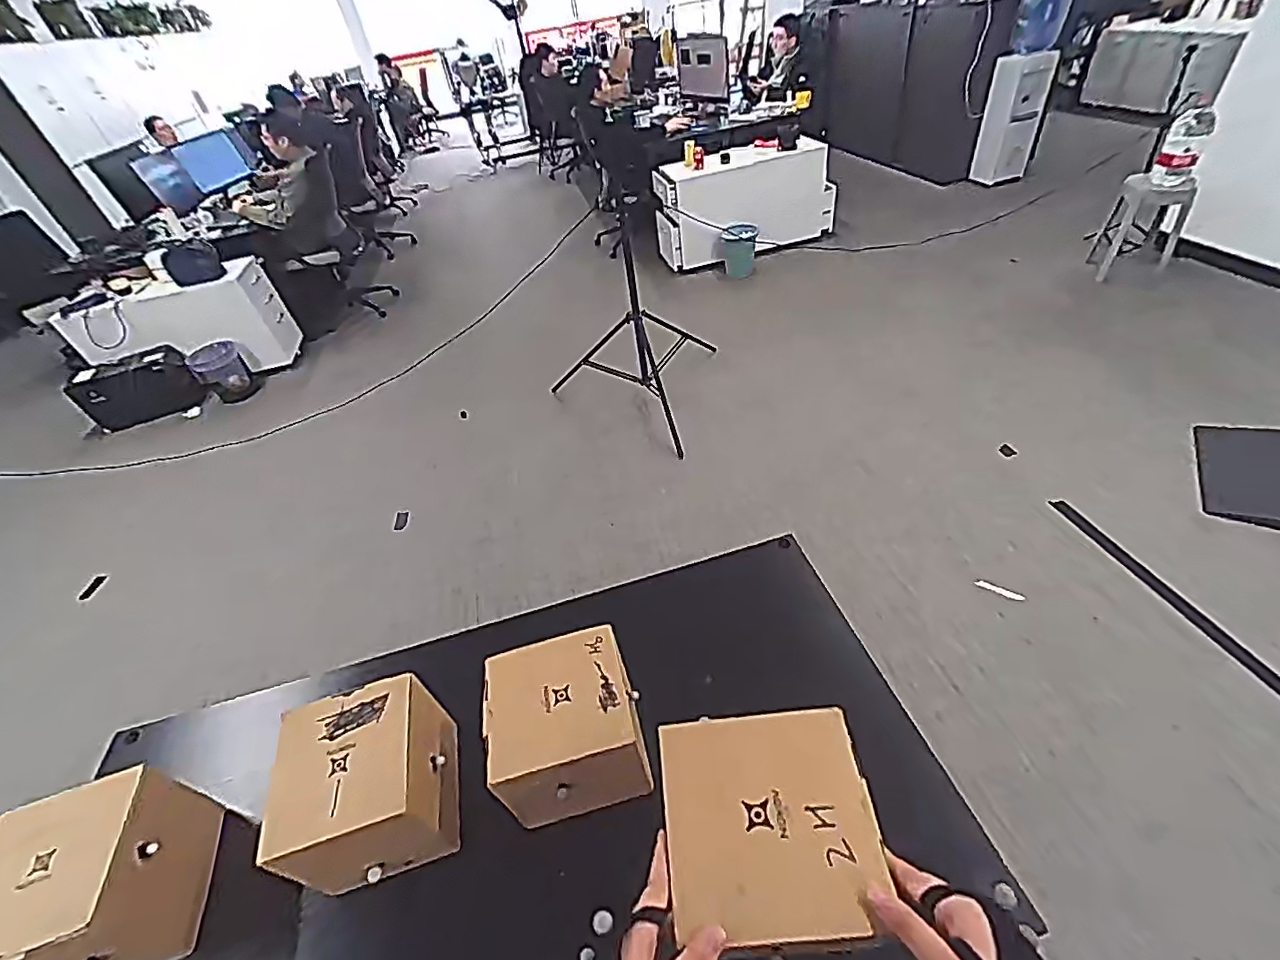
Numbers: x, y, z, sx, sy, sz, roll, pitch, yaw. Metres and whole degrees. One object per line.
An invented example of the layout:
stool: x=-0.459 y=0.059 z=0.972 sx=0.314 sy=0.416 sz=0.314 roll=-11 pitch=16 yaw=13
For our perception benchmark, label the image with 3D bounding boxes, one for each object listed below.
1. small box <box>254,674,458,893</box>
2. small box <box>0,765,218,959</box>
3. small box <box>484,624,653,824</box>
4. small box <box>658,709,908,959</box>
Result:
small box: x=-0.345 y=0.389 z=0.697 sx=0.168 sy=0.176 sz=0.179 roll=-16 pitch=43 yaw=-6
small box: x=-0.659 y=0.489 z=0.652 sx=0.168 sy=0.176 sz=0.179 roll=-17 pitch=42 yaw=-10
small box: x=-0.093 y=0.325 z=0.718 sx=0.179 sy=0.176 sz=0.168 roll=-15 pitch=42 yaw=-4
small box: x=0.117 y=0.335 z=0.506 sx=0.179 sy=0.176 sz=0.168 roll=-7 pitch=47 yaw=3
